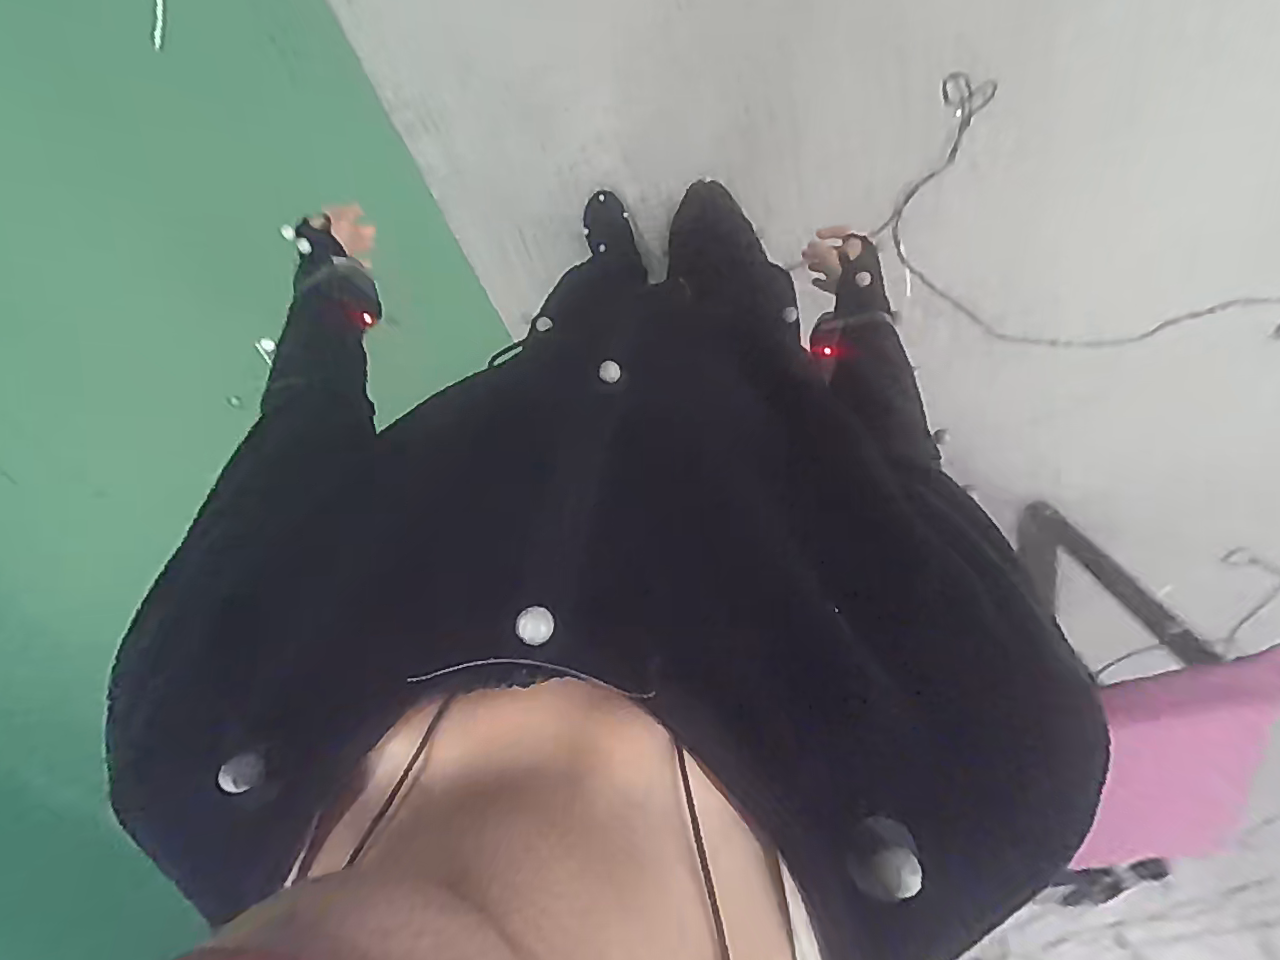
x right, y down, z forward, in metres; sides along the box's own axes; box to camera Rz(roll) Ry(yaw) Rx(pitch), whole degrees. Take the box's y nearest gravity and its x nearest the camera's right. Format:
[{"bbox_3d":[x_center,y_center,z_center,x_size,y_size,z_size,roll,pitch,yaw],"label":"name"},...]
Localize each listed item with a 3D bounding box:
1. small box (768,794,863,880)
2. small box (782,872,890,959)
[{"bbox_3d":[0.392,0.831,1.217,0.168,0.176,0.179,-12,121,7],"label":"small box"},{"bbox_3d":[0.389,0.903,1.067,0.168,0.176,0.179,-15,120,10],"label":"small box"}]
